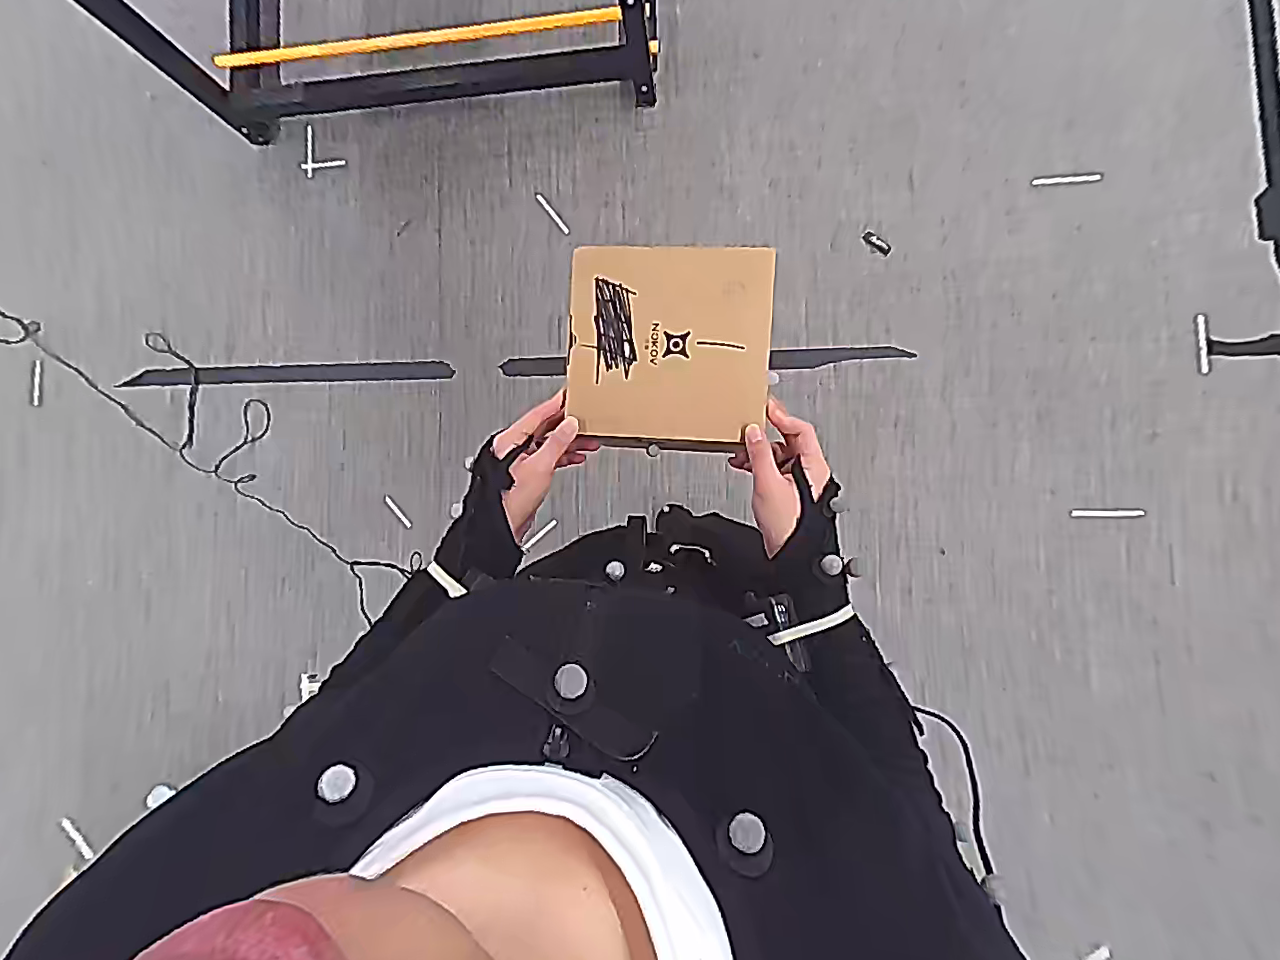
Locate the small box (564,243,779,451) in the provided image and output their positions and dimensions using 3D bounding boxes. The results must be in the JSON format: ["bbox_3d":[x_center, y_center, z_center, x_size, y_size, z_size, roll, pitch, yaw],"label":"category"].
[{"bbox_3d":[0.036,-0.118,0.538,0.179,0.176,0.168,4,91,8],"label":"small box"}]
